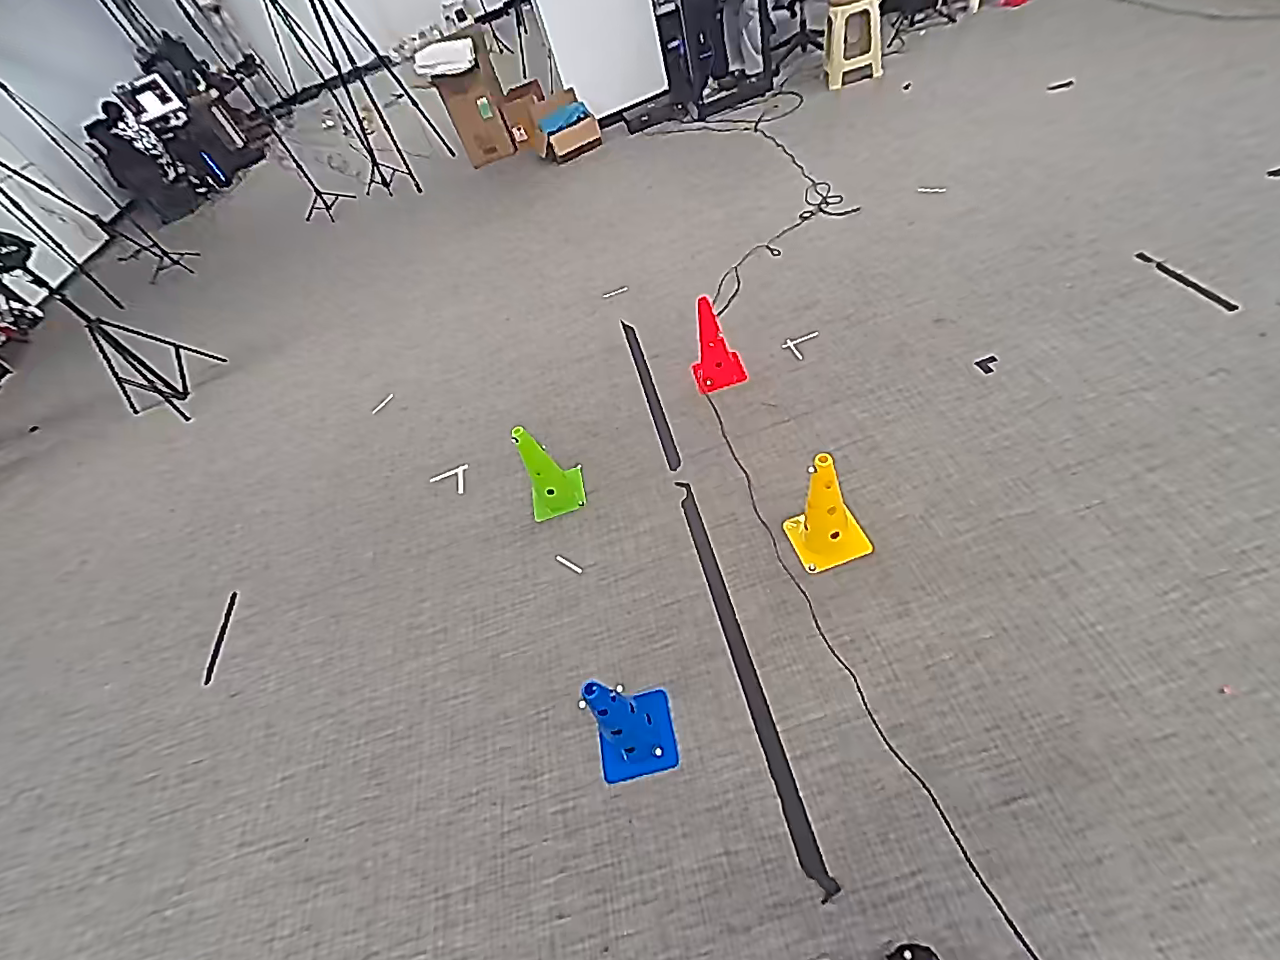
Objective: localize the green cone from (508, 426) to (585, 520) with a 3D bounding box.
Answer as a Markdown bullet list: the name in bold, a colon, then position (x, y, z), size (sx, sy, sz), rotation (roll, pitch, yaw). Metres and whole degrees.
- **green cone**: position (-0.358, -0.058, 1.897), size (0.202, 0.368, 0.200), rotation (-20, 48, 5)

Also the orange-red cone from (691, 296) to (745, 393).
- **orange-red cone**: position (0.272, -0.543, 2.072), size (0.199, 0.360, 0.198), rotation (-15, 50, 6)

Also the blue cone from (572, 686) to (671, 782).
- **blue cone**: position (-0.066, 0.566, 1.288), size (0.192, 0.380, 0.193), rotation (-17, 48, 7)
